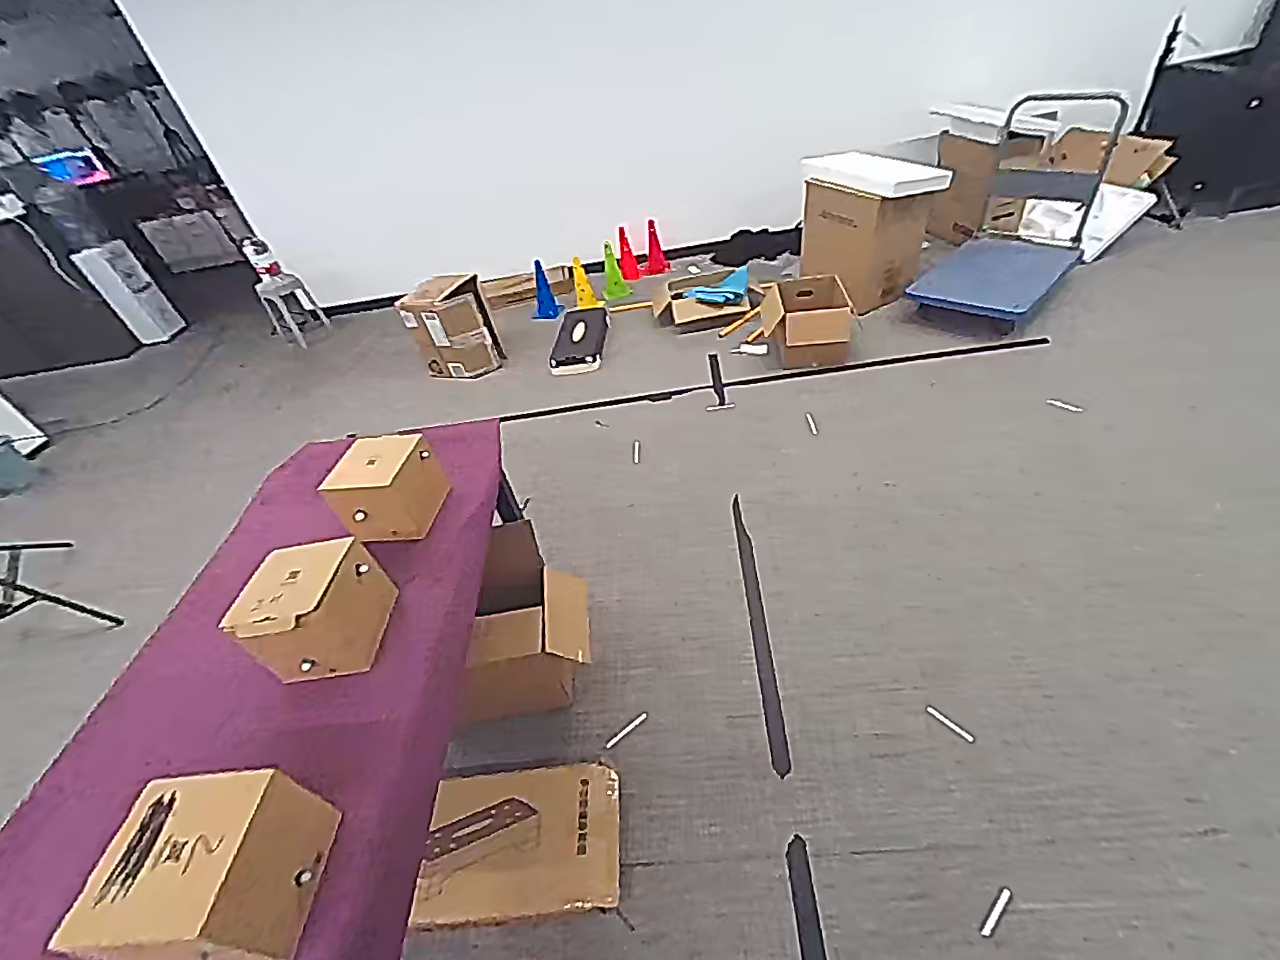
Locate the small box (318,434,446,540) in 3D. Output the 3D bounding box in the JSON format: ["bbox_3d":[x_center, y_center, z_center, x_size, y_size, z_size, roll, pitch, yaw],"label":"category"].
[{"bbox_3d":[-0.558,0.022,1.202,0.168,0.176,0.179,-4,41,10],"label":"small box"}]

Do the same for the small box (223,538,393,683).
[{"bbox_3d":[-0.570,0.232,0.962,0.168,0.176,0.179,-10,40,6],"label":"small box"}]
